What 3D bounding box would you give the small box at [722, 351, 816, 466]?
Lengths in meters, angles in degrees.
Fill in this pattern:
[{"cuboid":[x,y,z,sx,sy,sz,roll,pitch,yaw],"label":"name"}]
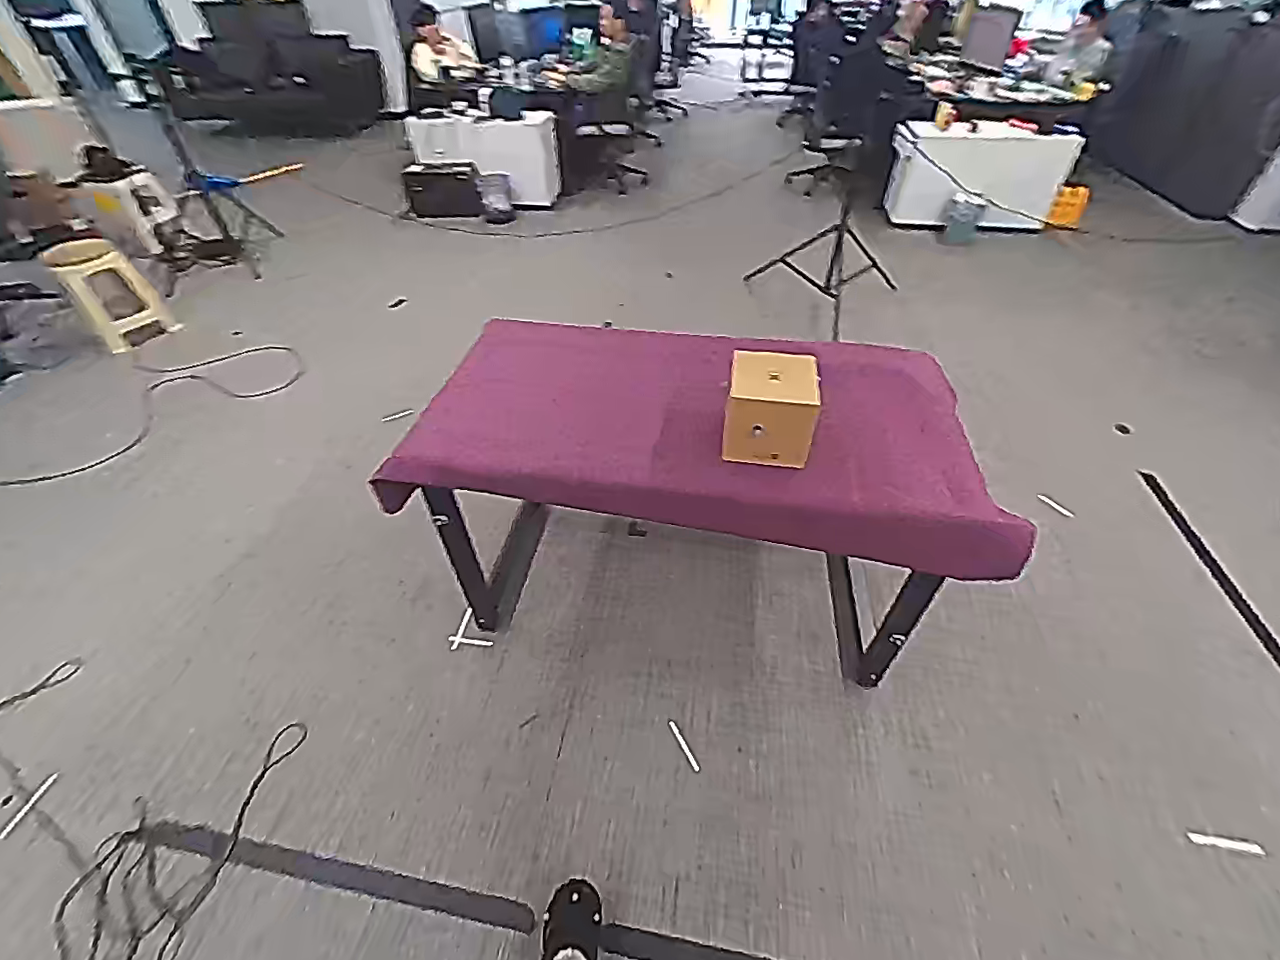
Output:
[{"cuboid":[0.264,-0.149,1.128,0.168,0.176,0.179,6,44,7],"label":"small box"}]
